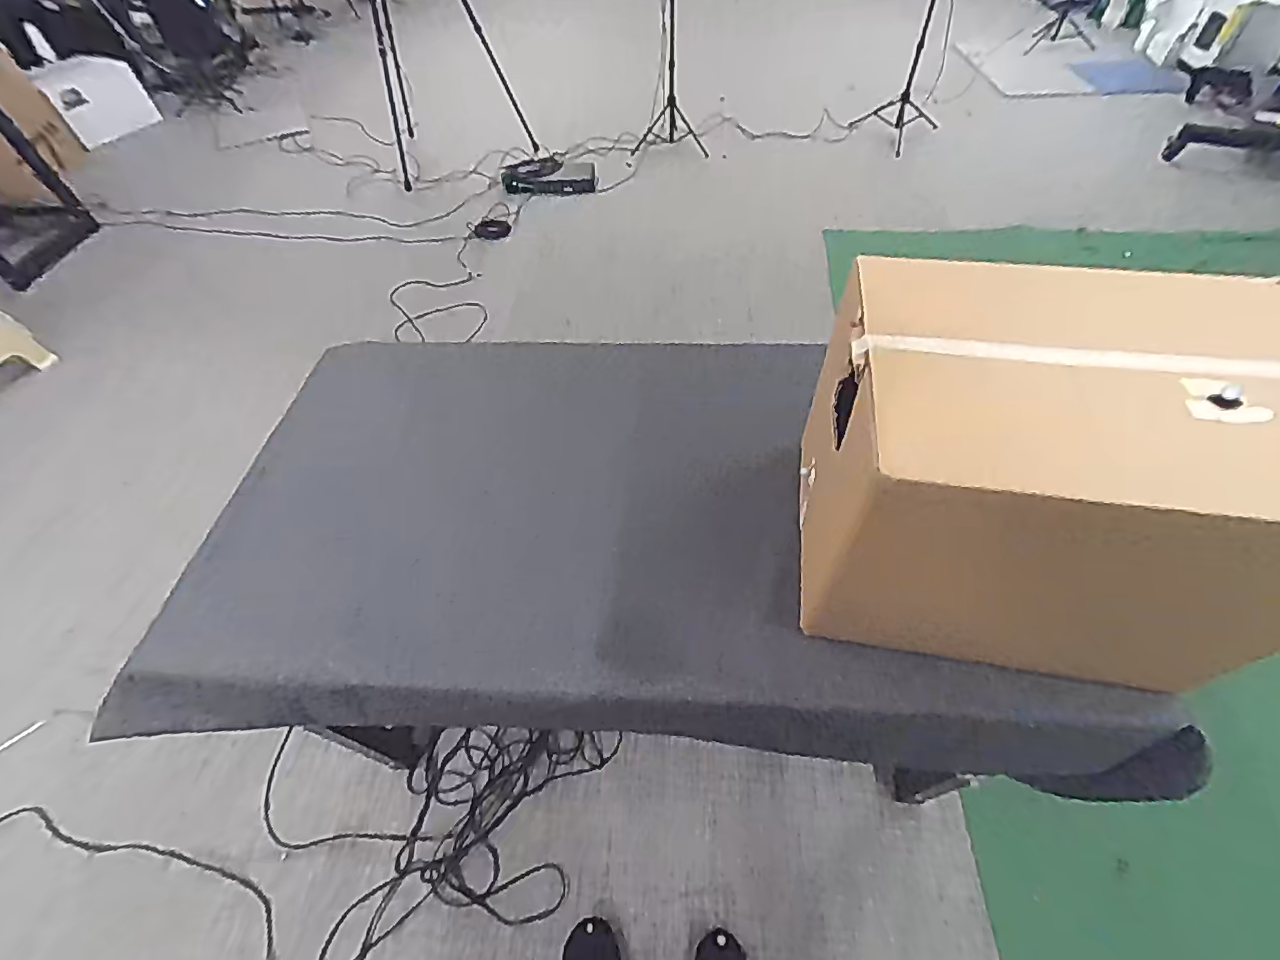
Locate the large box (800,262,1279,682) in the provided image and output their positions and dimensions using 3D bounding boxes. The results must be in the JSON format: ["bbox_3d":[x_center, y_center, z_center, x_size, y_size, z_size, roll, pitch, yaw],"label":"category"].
[{"bbox_3d":[0.409,-0.007,0.593,0.408,0.320,0.320,7,53,8],"label":"large box"}]
